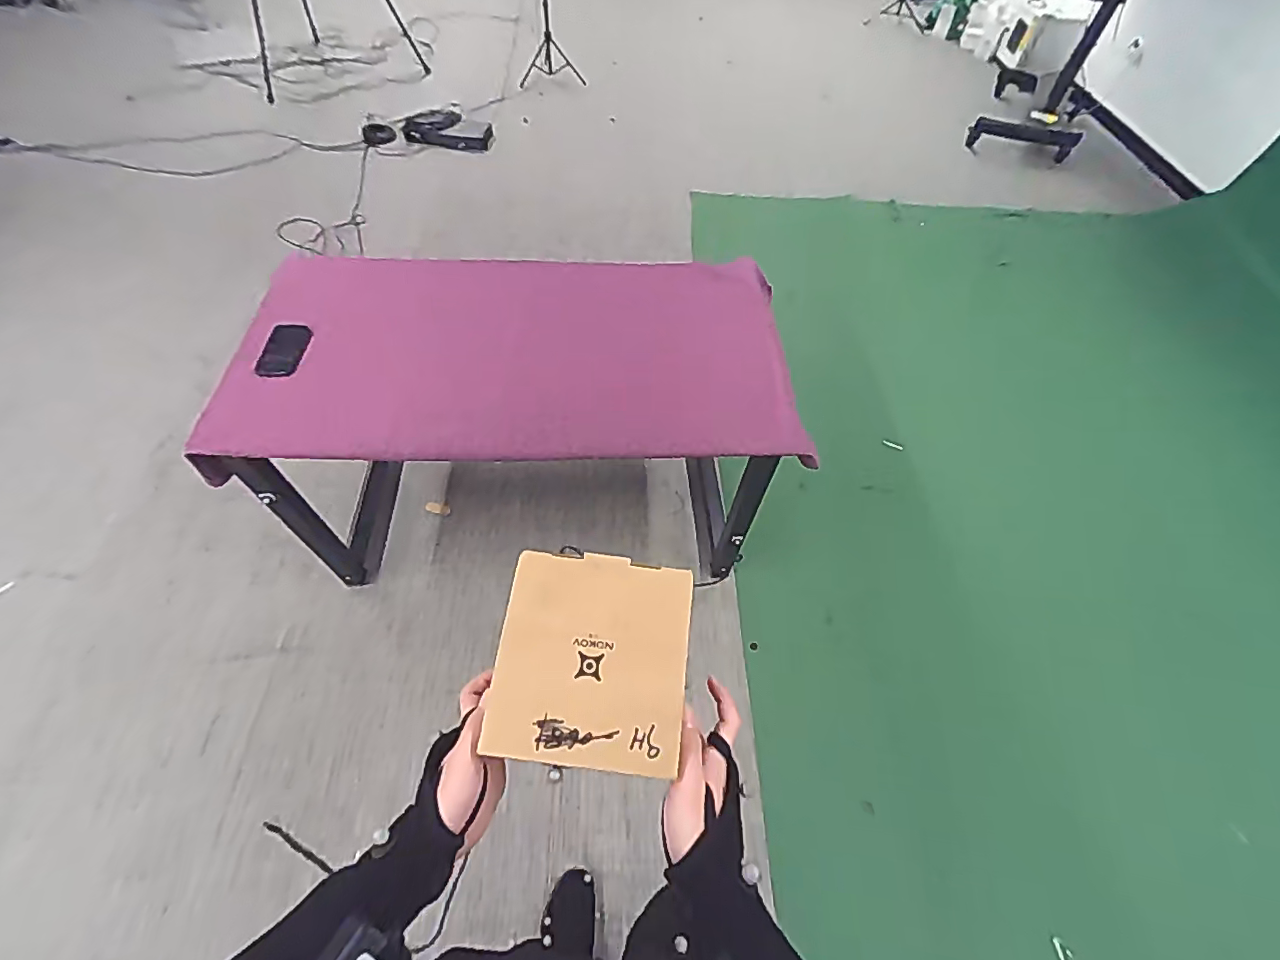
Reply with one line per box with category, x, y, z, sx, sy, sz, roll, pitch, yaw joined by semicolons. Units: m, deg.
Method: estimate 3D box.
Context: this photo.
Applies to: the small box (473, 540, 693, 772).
small box;-0.044;0.177;0.536;0.168;0.176;0.179;6;64;3
